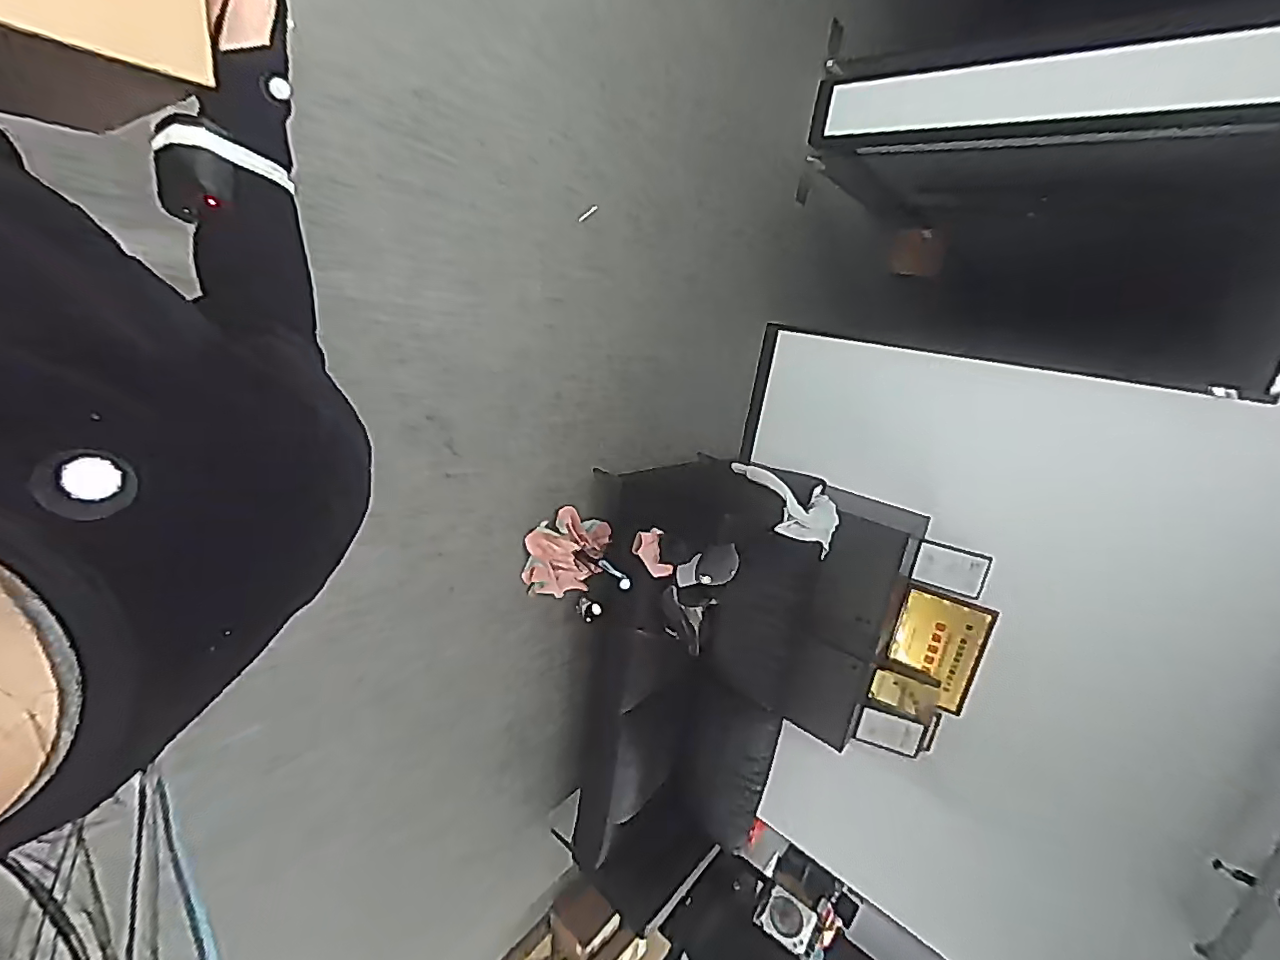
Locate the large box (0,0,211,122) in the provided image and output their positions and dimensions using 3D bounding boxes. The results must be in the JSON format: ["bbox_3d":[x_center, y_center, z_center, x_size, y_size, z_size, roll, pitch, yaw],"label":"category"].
[{"bbox_3d":[-0.557,-0.442,0.301,0.408,0.320,0.320,-19,119,-51],"label":"large box"}]
